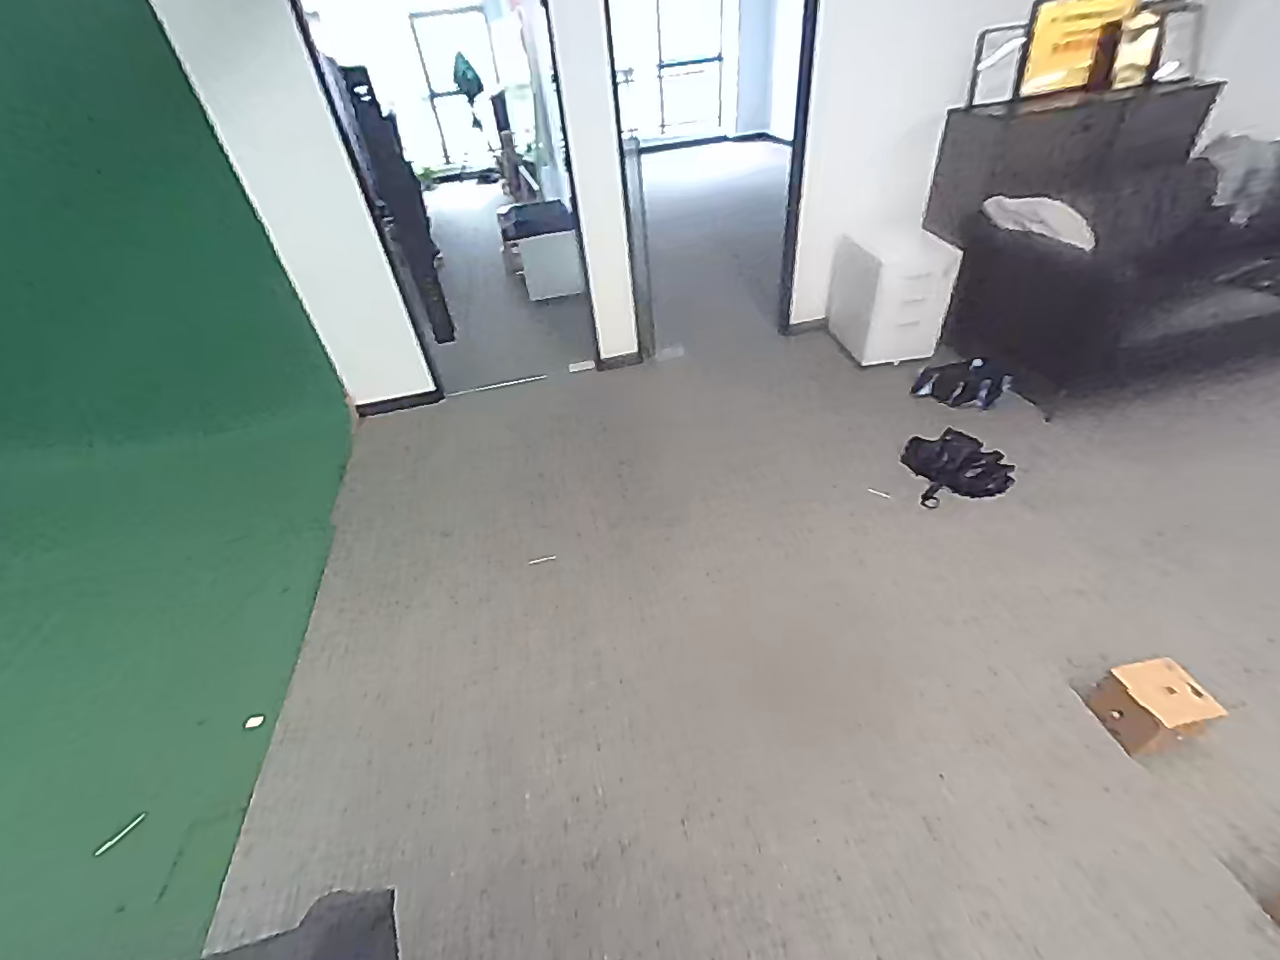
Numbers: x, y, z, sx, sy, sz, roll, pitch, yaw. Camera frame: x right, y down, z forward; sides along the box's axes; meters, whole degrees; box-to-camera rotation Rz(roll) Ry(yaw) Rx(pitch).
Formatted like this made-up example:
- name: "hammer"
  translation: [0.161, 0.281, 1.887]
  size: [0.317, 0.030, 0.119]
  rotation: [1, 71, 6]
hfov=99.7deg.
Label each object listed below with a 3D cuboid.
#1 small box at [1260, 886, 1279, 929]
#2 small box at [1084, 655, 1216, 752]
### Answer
- name: "small box"
  translation: [1.436, 0.890, 1.079]
  size: [0.179, 0.176, 0.168]
  rotation: [-11, 38, -3]
- name: "small box"
  translation: [1.346, 0.603, 1.449]
  size: [0.179, 0.176, 0.168]
  rotation: [-10, 39, -4]
